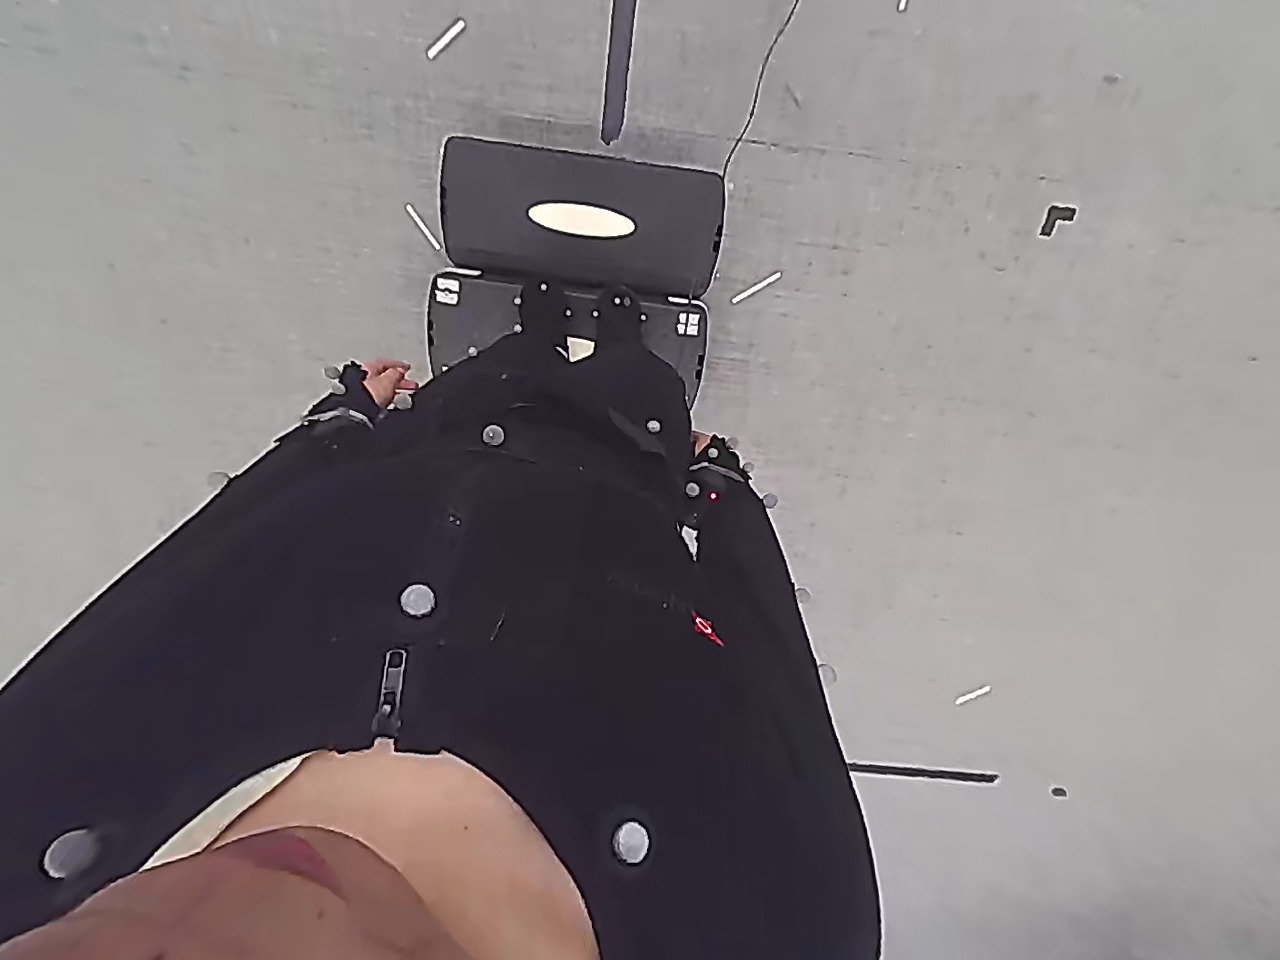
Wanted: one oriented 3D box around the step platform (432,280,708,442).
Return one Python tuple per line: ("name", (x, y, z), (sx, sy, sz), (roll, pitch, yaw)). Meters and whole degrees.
("step platform", (-0.173, -0.303, 1.391), (0.684, 0.204, 0.286), (11, 111, -3))
